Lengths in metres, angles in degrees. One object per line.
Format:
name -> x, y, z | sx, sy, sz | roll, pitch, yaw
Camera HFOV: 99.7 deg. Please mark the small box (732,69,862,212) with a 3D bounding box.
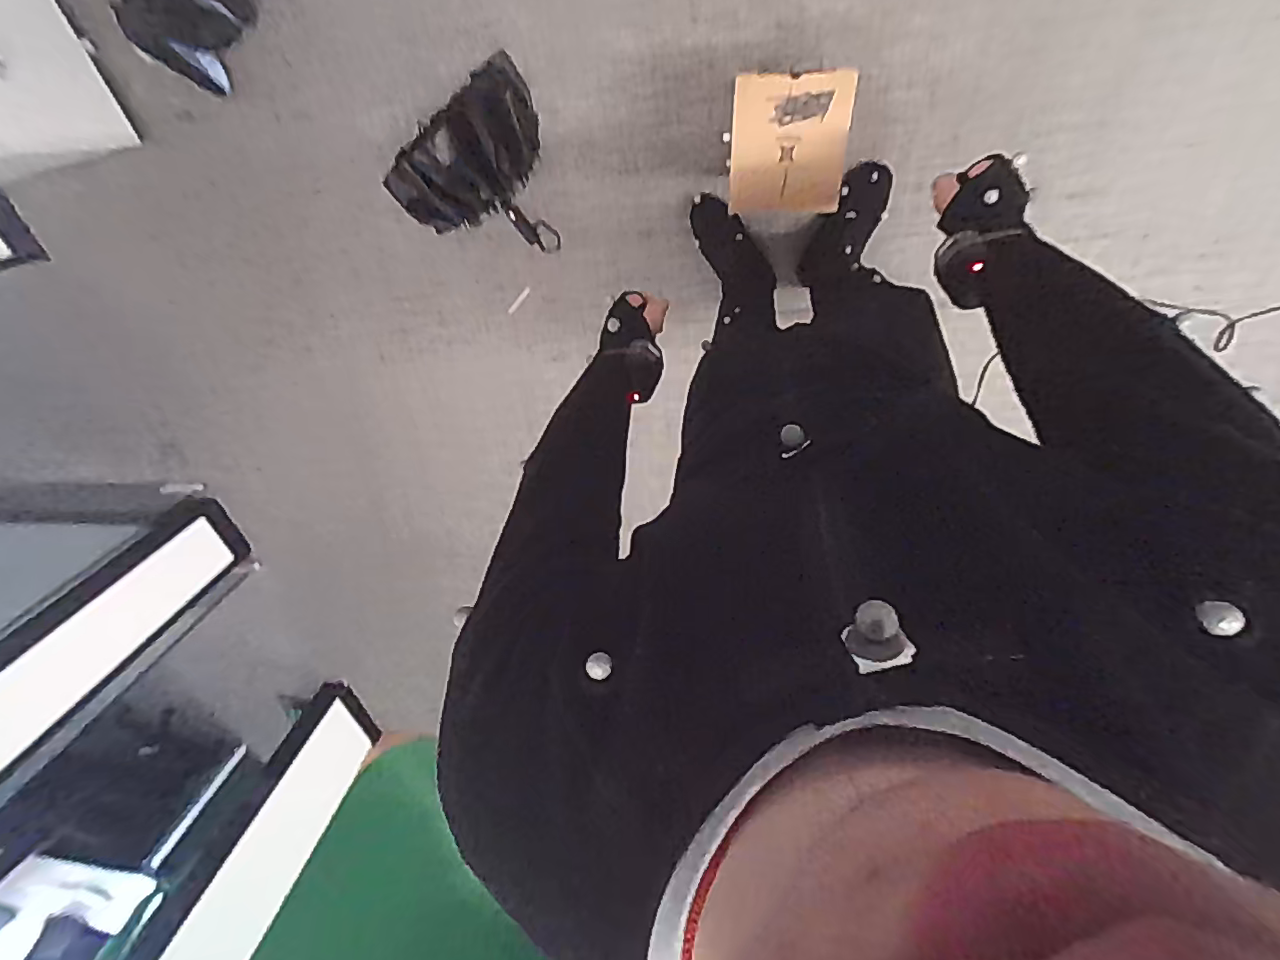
small box -> 0.234, -0.531, 0.850 | 0.168, 0.176, 0.179 | 4, 126, 9
